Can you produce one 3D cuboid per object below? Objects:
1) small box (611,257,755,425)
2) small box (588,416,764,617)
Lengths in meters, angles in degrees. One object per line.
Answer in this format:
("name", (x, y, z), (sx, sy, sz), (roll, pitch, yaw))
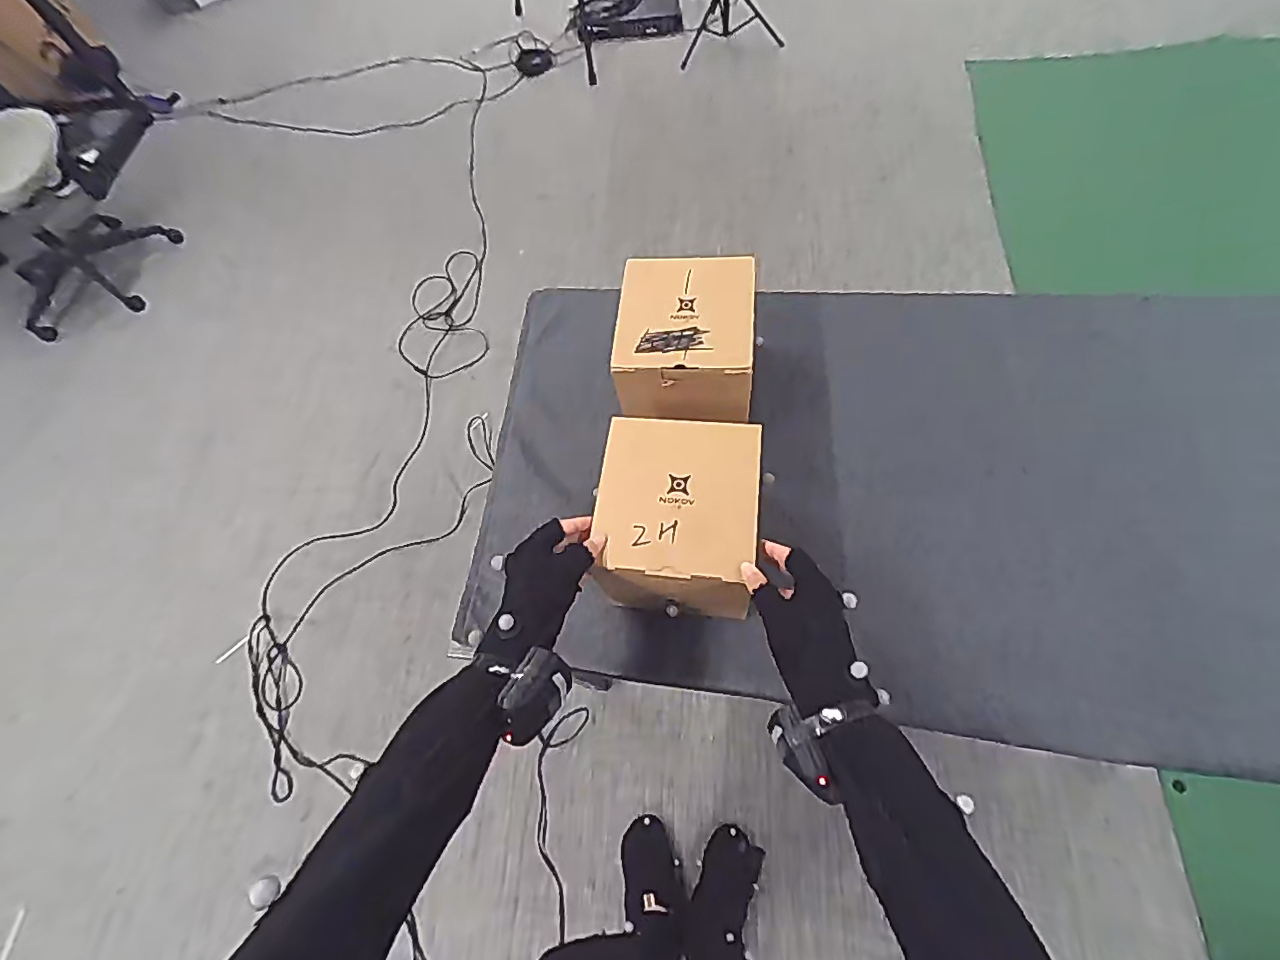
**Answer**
("small box", (0.065, -0.169, 0.723), (0.168, 0.176, 0.179), (3, 65, 9))
("small box", (0.048, 0.047, 0.626), (0.168, 0.176, 0.179), (4, 66, 9))
